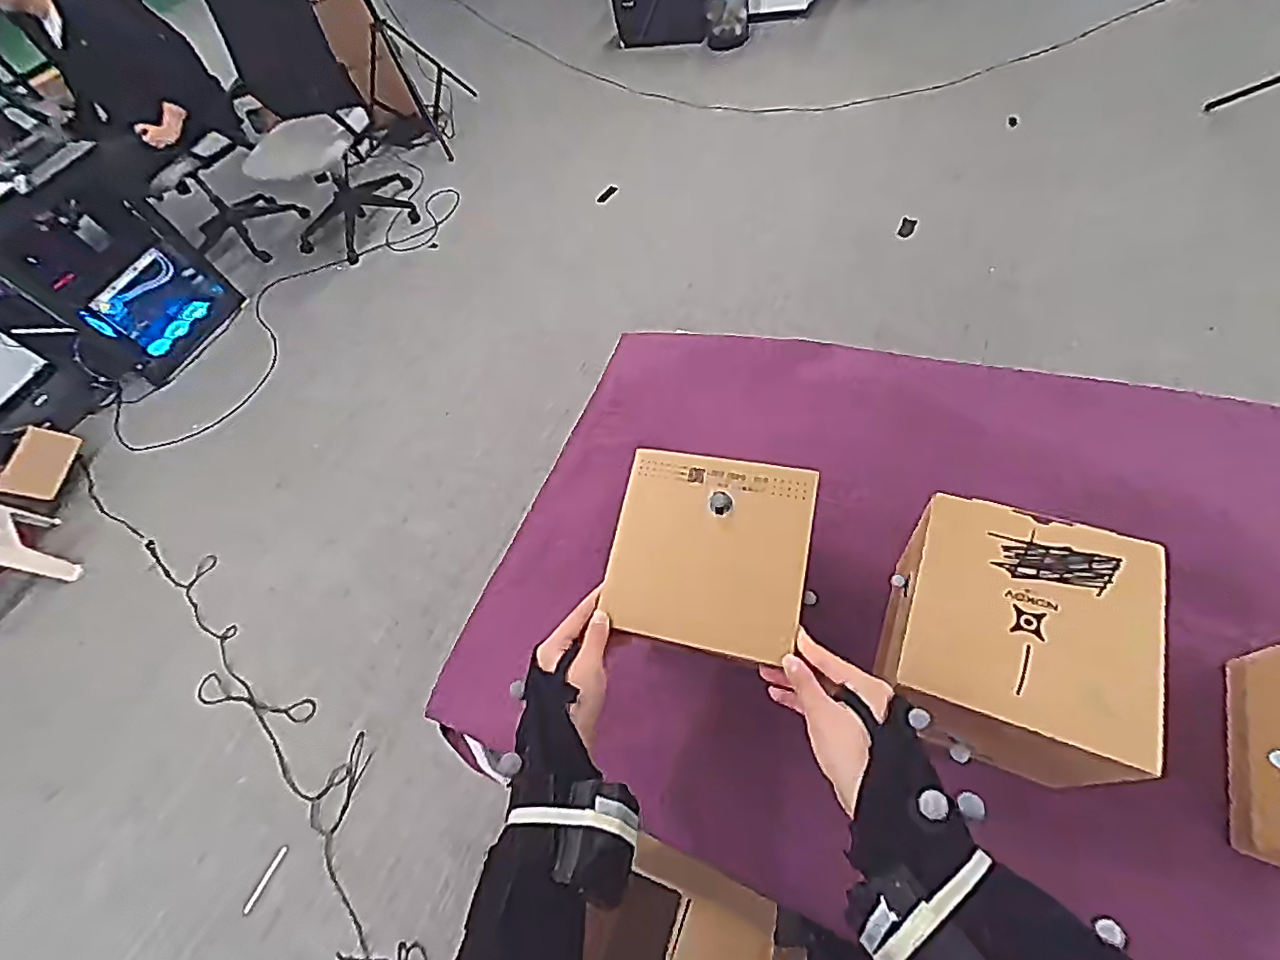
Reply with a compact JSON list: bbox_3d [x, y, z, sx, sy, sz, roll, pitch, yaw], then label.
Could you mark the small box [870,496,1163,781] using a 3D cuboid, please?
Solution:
[{"bbox_3d":[0.321,0.146,0.490,0.168,0.176,0.179,16,65,22],"label":"small box"}]
